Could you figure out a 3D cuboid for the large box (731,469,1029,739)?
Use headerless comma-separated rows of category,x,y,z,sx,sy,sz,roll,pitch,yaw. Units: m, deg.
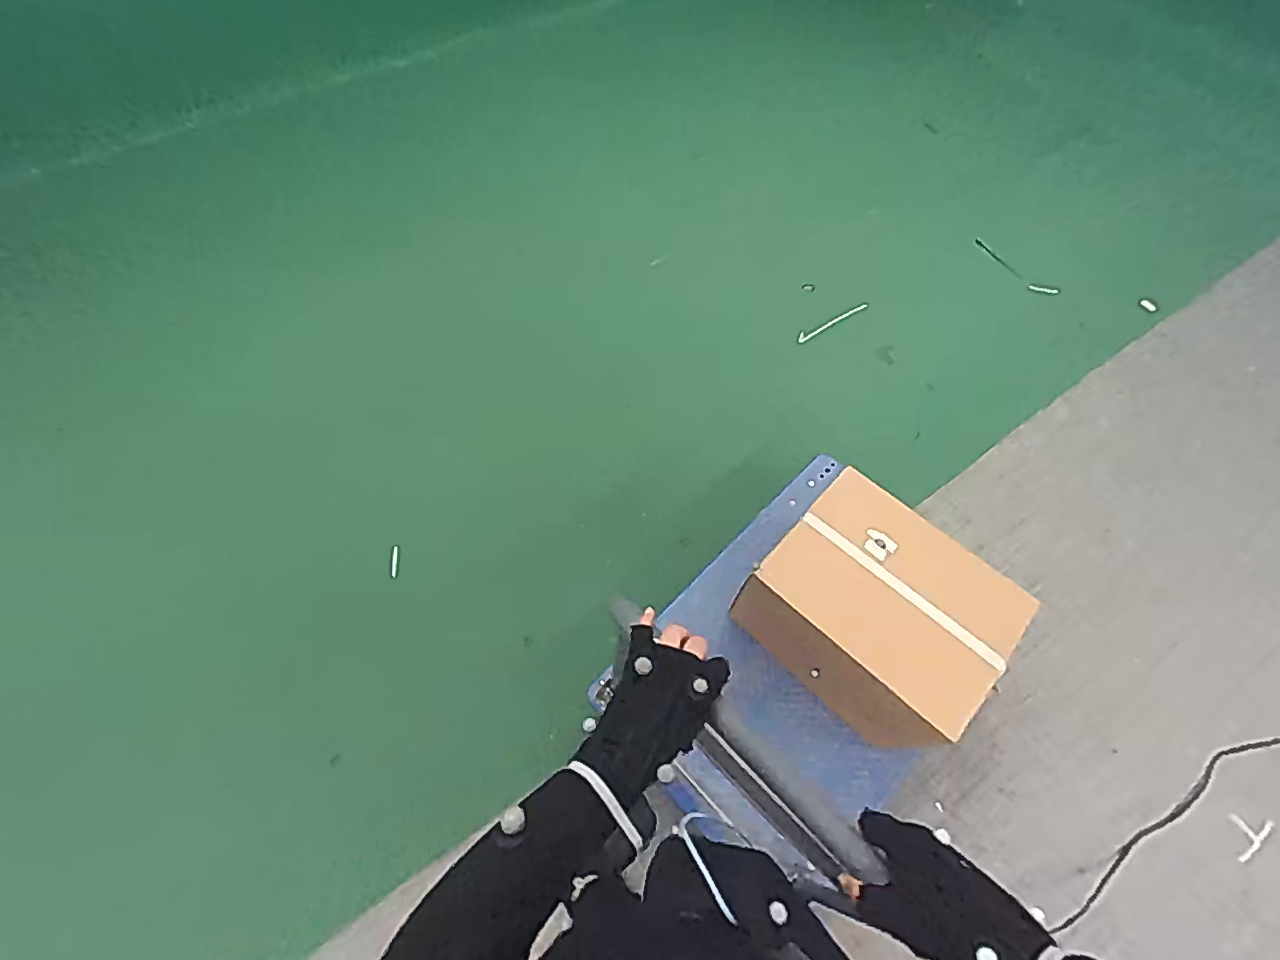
large box,0.452,0.260,1.105,0.408,0.320,0.320,40,68,19
